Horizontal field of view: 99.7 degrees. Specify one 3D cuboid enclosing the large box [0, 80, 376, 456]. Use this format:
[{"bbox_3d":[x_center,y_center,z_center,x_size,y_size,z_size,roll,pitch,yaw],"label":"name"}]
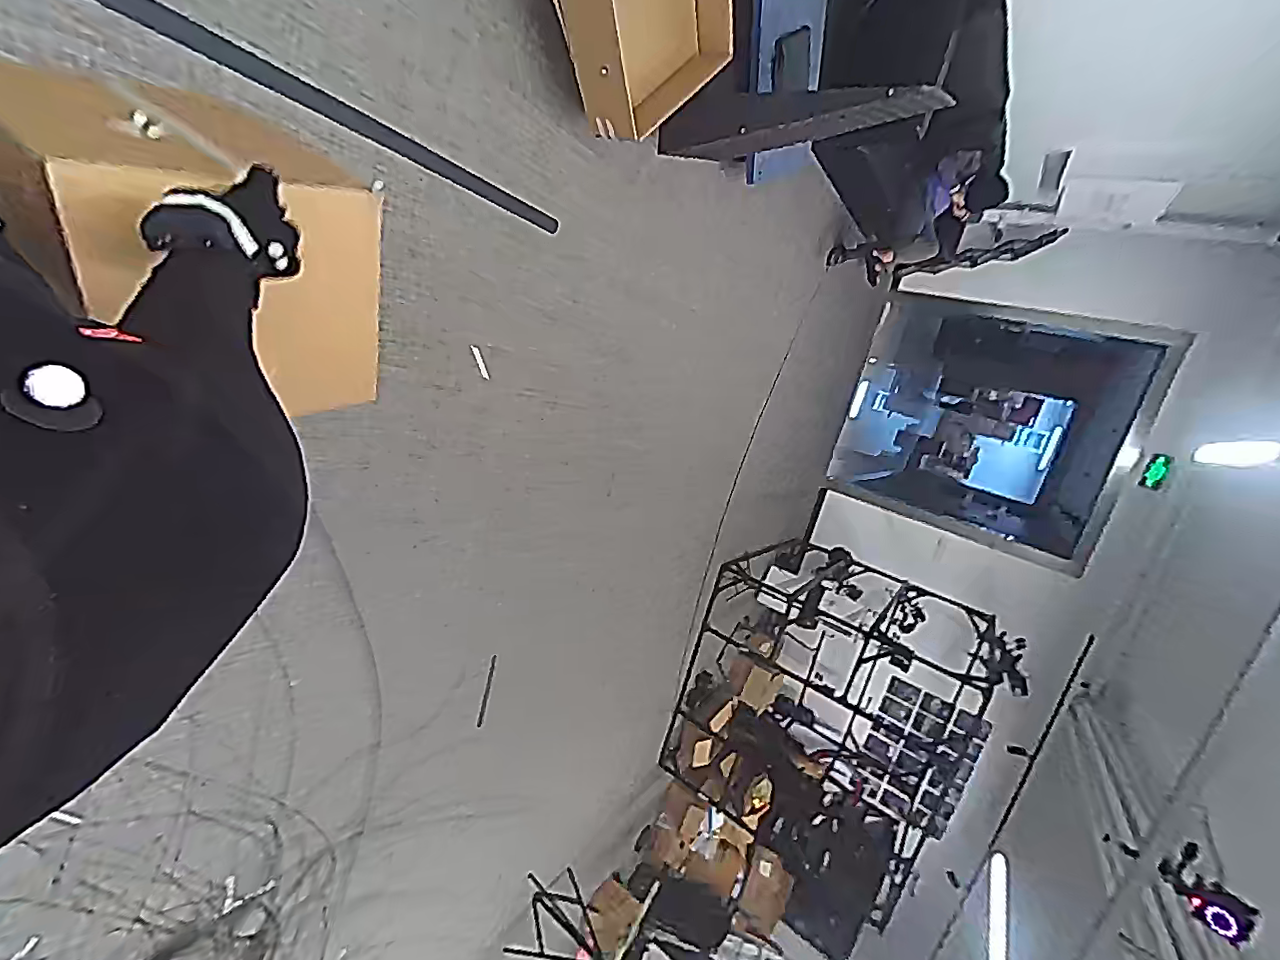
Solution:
[{"bbox_3d":[-0.631,-0.294,0.750,0.320,0.408,0.320,-29,148,-48],"label":"large box"}]
